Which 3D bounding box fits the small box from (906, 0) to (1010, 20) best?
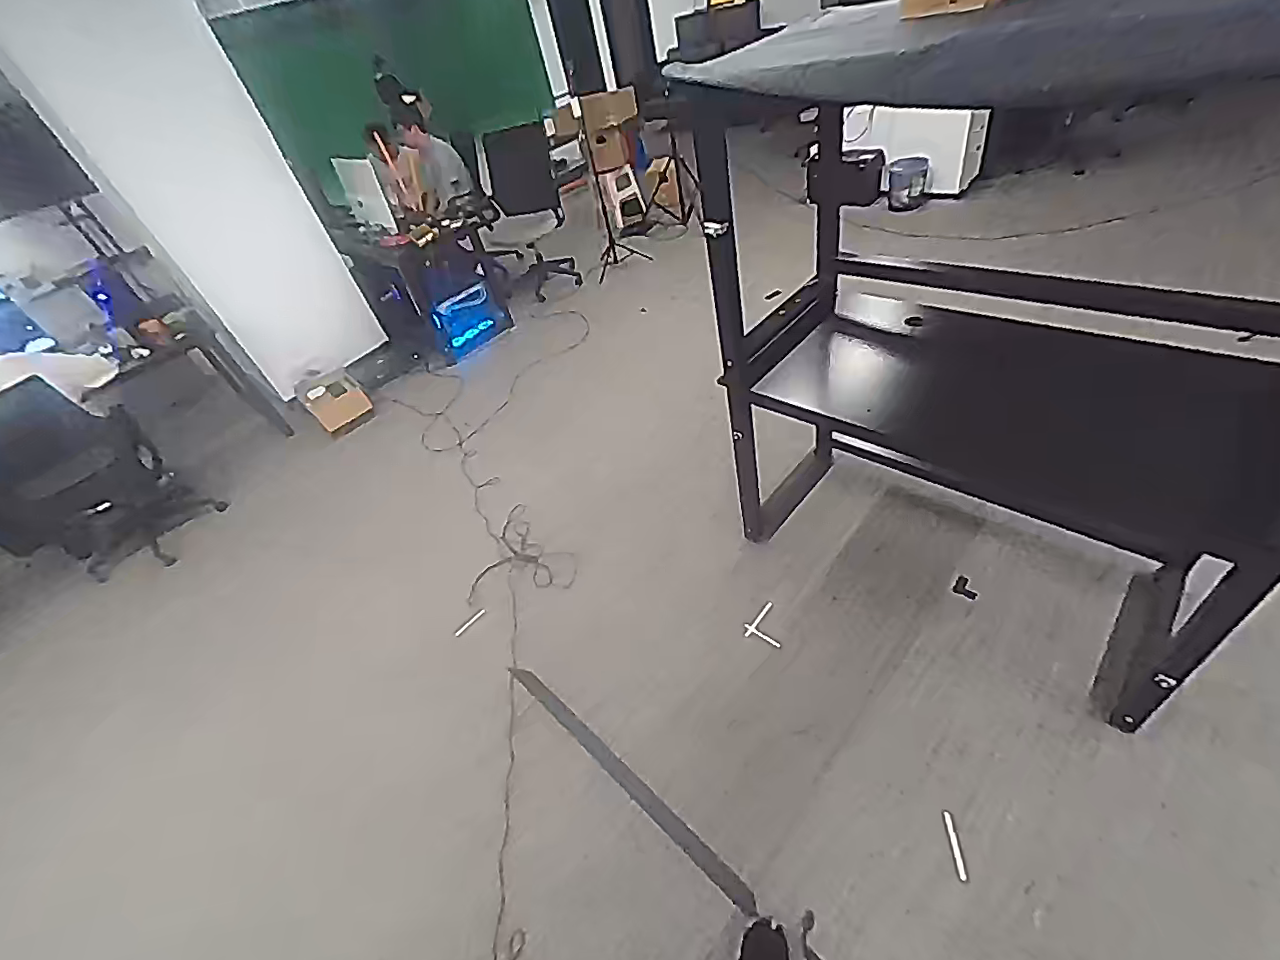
[{"bbox_3d":[0.611,-0.968,0.987,0.179,0.176,0.168,-38,46,-23],"label":"small box"}]
